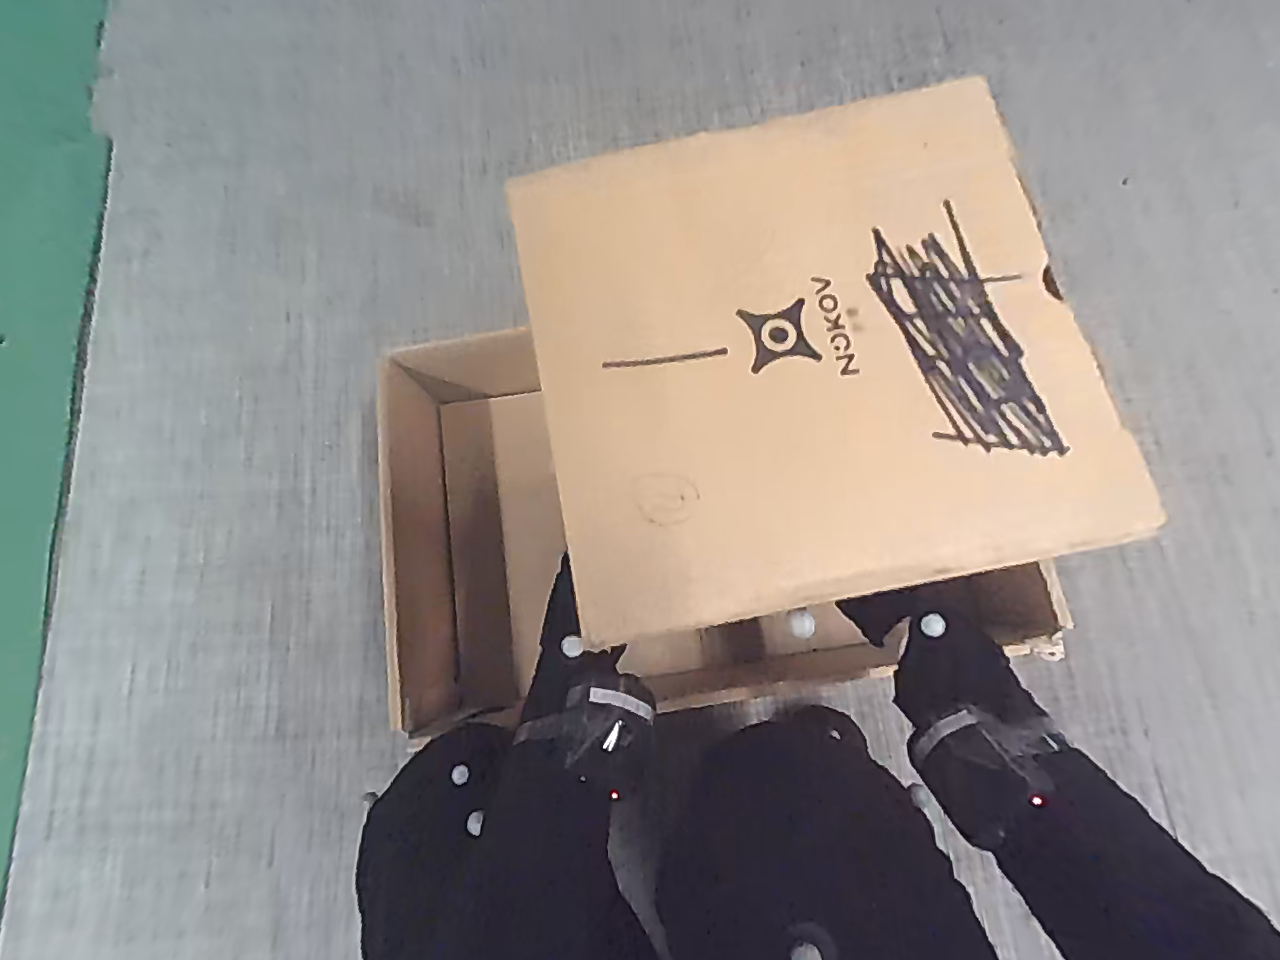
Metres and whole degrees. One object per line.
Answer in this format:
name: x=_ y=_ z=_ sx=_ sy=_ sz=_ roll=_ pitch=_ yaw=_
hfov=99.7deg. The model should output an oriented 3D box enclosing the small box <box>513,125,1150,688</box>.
small box: x=0.057 y=-0.017 z=0.257 sx=0.179 sy=0.176 sz=0.168 roll=-14 pitch=77 yaw=-2
